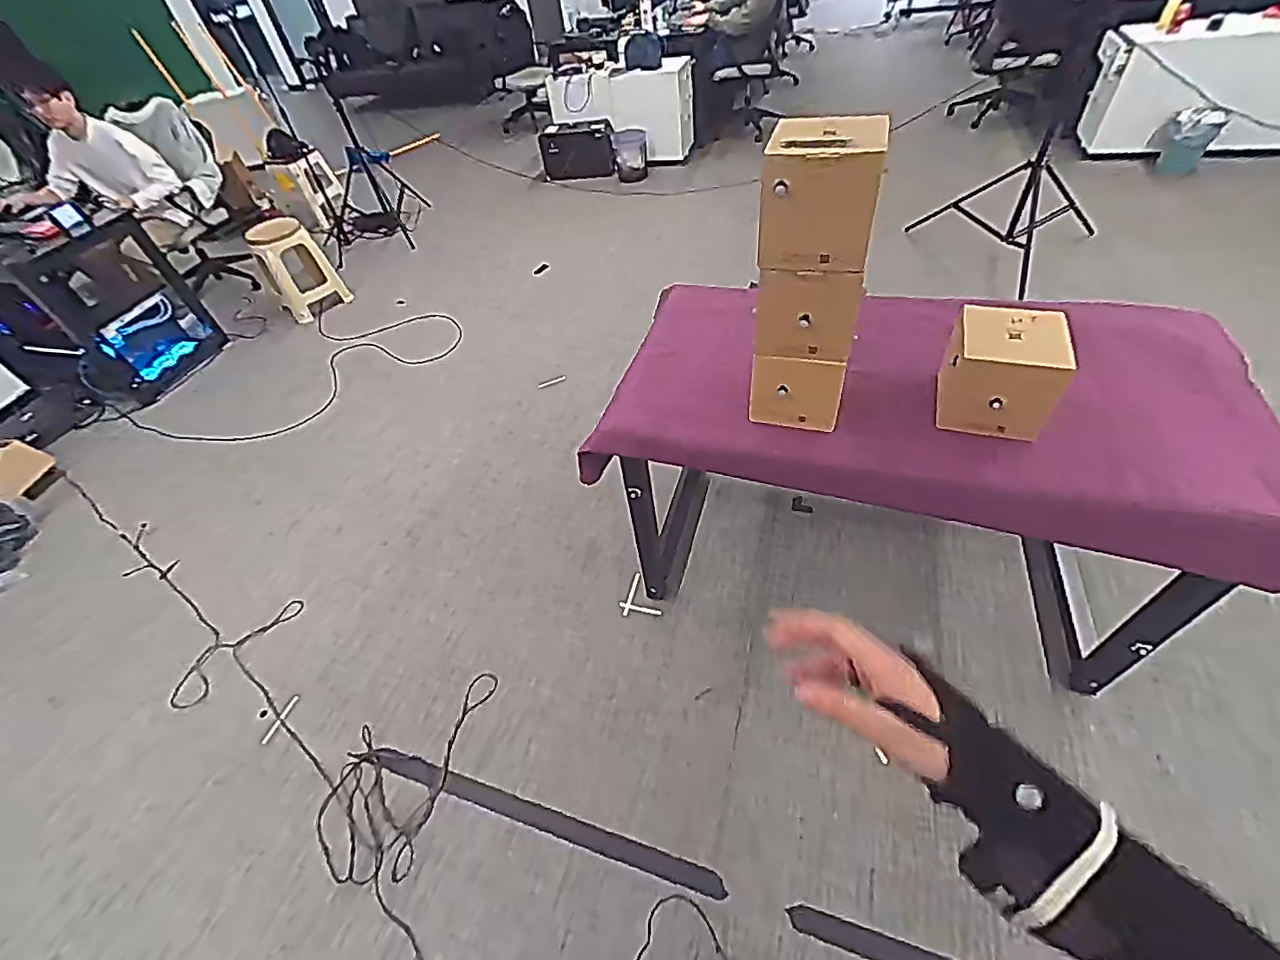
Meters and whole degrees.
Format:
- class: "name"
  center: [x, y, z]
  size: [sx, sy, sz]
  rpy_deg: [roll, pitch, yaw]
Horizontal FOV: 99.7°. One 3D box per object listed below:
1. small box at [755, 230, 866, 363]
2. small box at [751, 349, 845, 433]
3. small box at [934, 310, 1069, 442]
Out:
- class: "small box"
  center: [0.303, -0.330, 0.976]
  size: [0.168, 0.176, 0.179]
  rpy_deg: [9, 50, 15]
- class: "small box"
  center: [0.321, -0.215, 1.092]
  size: [0.168, 0.176, 0.179]
  rpy_deg: [10, 49, 17]
- class: "small box"
  center: [0.668, -0.194, 1.019]
  size: [0.168, 0.176, 0.179]
  rpy_deg: [12, 50, 18]
